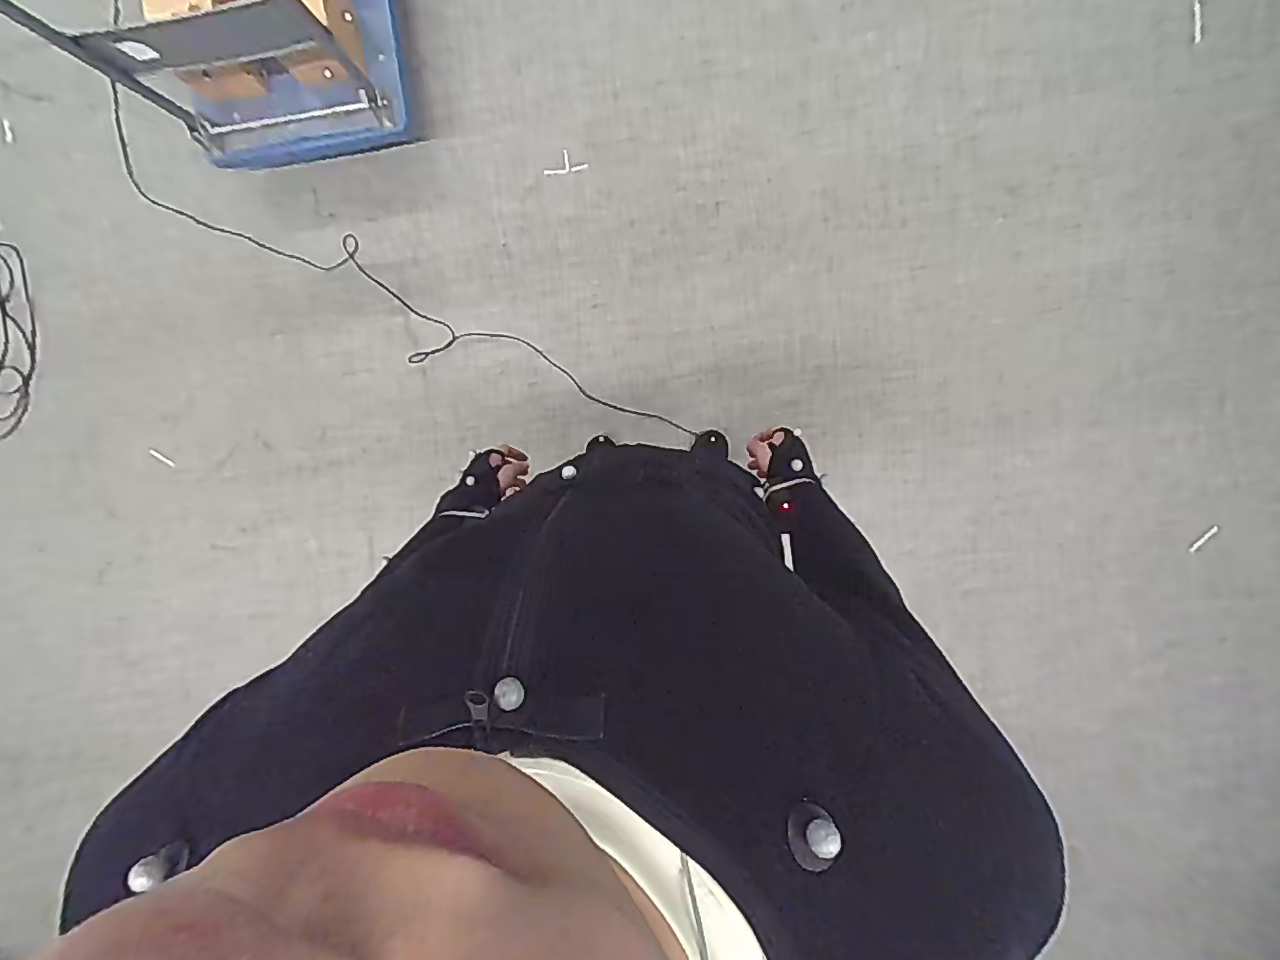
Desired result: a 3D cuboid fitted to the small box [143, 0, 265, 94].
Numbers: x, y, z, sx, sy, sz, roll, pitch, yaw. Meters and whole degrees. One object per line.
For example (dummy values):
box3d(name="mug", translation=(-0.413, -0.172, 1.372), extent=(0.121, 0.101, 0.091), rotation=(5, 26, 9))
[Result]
box3d(name="small box", translation=(-1.065, -1.095, 1.337), extent=(0.179, 0.176, 0.168), rotation=(-4, 95, 4))

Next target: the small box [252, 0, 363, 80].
box3d(name="small box", translation=(-0.804, -1.124, 1.319), extent=(0.179, 0.176, 0.168), rotation=(-8, 95, 4))
